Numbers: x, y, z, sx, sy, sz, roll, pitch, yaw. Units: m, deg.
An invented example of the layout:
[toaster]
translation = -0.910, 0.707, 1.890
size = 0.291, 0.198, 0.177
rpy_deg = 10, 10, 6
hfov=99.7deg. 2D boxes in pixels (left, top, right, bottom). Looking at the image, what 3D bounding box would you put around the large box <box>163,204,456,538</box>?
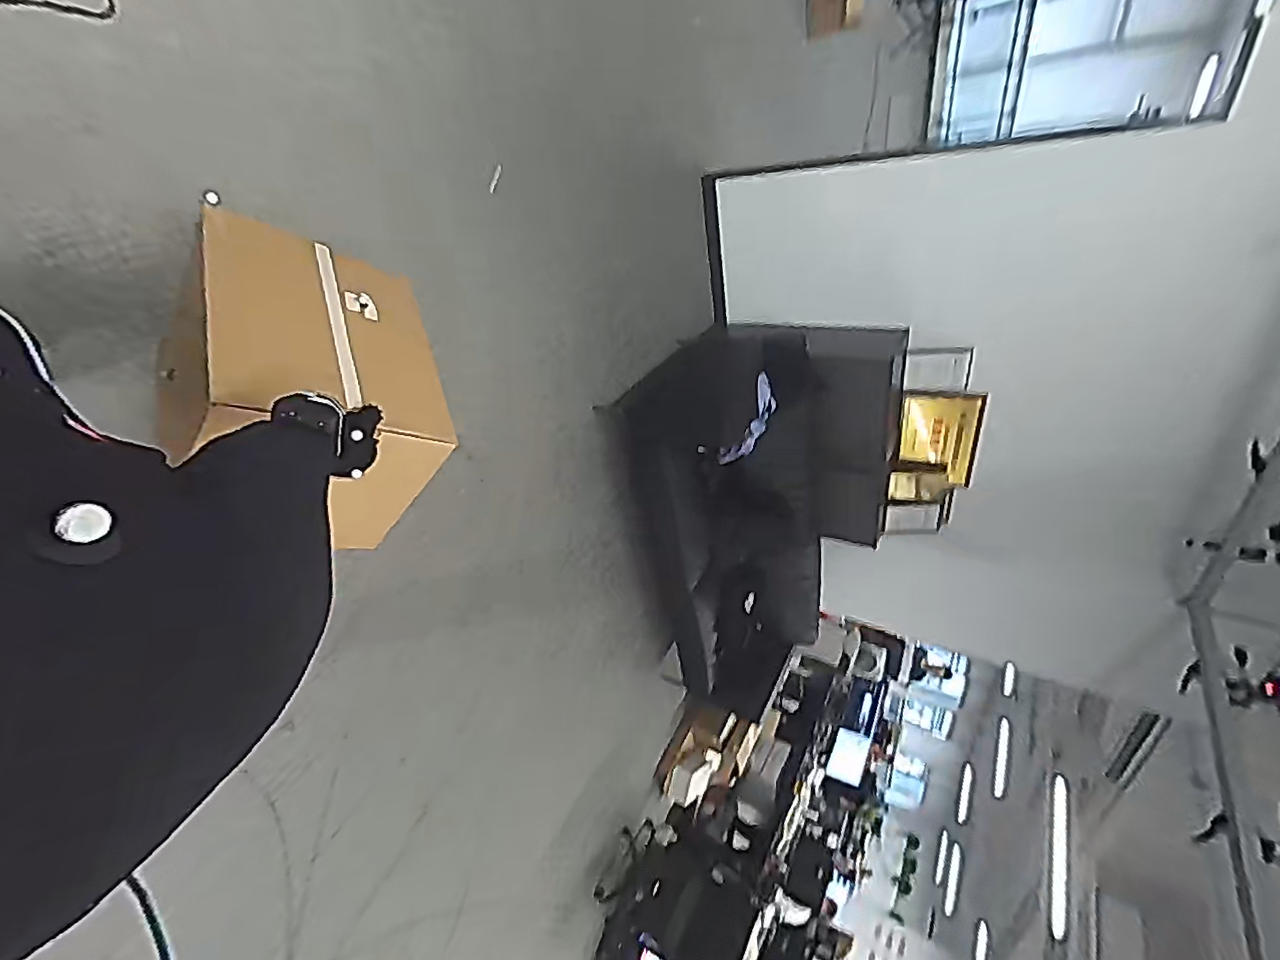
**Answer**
[large box]
translation = -0.564, -0.150, 0.900
size = 0.320, 0.408, 0.320
rpy_deg = -42, 150, 29
